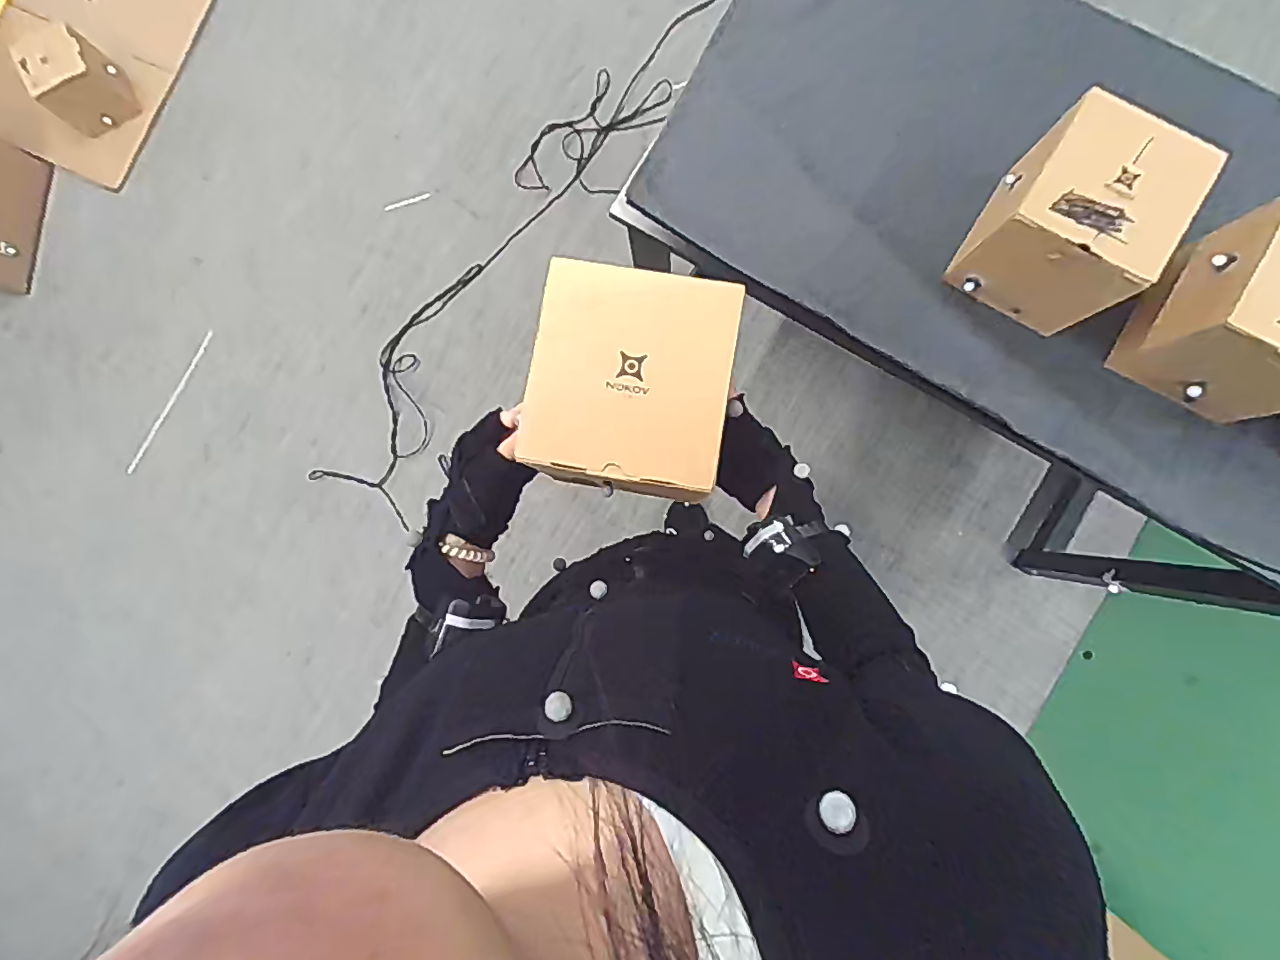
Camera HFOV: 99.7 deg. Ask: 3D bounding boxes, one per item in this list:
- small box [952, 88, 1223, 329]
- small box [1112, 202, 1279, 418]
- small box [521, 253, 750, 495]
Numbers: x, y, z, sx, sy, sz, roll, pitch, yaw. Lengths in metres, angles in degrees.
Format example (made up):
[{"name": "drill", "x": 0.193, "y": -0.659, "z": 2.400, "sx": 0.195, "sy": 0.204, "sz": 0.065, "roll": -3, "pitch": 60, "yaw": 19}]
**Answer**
[{"name": "small box", "x": 0.531, "y": -0.319, "z": 0.675, "sx": 0.168, "sy": 0.176, "sz": 0.179, "roll": 32, "pitch": 87, "yaw": 4}, {"name": "small box", "x": 0.740, "y": -0.198, "z": 0.655, "sx": 0.168, "sy": 0.176, "sz": 0.179, "roll": 30, "pitch": 88, "yaw": 5}, {"name": "small box", "x": -0.002, "y": -0.085, "z": 0.519, "sx": 0.168, "sy": 0.176, "sz": 0.179, "roll": 9, "pitch": 87, "yaw": 2}]
